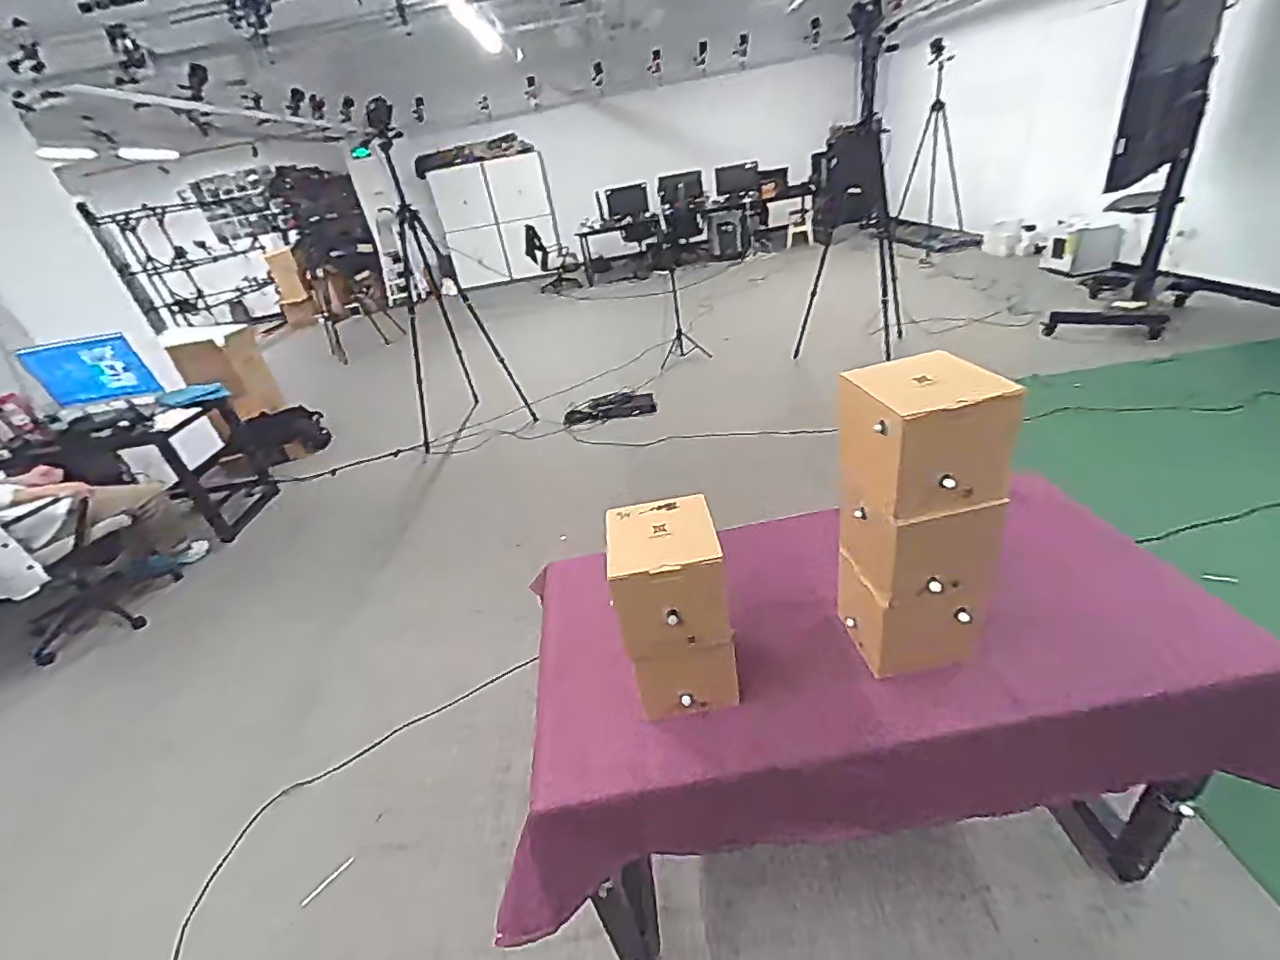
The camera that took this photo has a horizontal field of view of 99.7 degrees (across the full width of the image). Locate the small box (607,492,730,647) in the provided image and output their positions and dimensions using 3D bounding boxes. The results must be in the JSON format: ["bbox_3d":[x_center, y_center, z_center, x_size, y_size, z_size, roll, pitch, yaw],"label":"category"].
[{"bbox_3d":[0.044,0.147,0.864,0.168,0.176,0.179,-10,32,2],"label":"small box"}]

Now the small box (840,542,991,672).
[{"bbox_3d":[0.466,0.207,0.947,0.179,0.176,0.168,-11,30,0],"label":"small box"}]

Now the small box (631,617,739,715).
[{"bbox_3d":[0.074,0.280,0.955,0.168,0.176,0.179,-10,32,2],"label":"small box"}]

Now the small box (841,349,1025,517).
[{"bbox_3d":[0.406,-0.071,0.788,0.168,0.176,0.179,-13,32,-2],"label":"small box"}]

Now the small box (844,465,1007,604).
[{"bbox_3d":[0.438,0.068,0.866,0.168,0.176,0.179,-12,31,0],"label":"small box"}]
